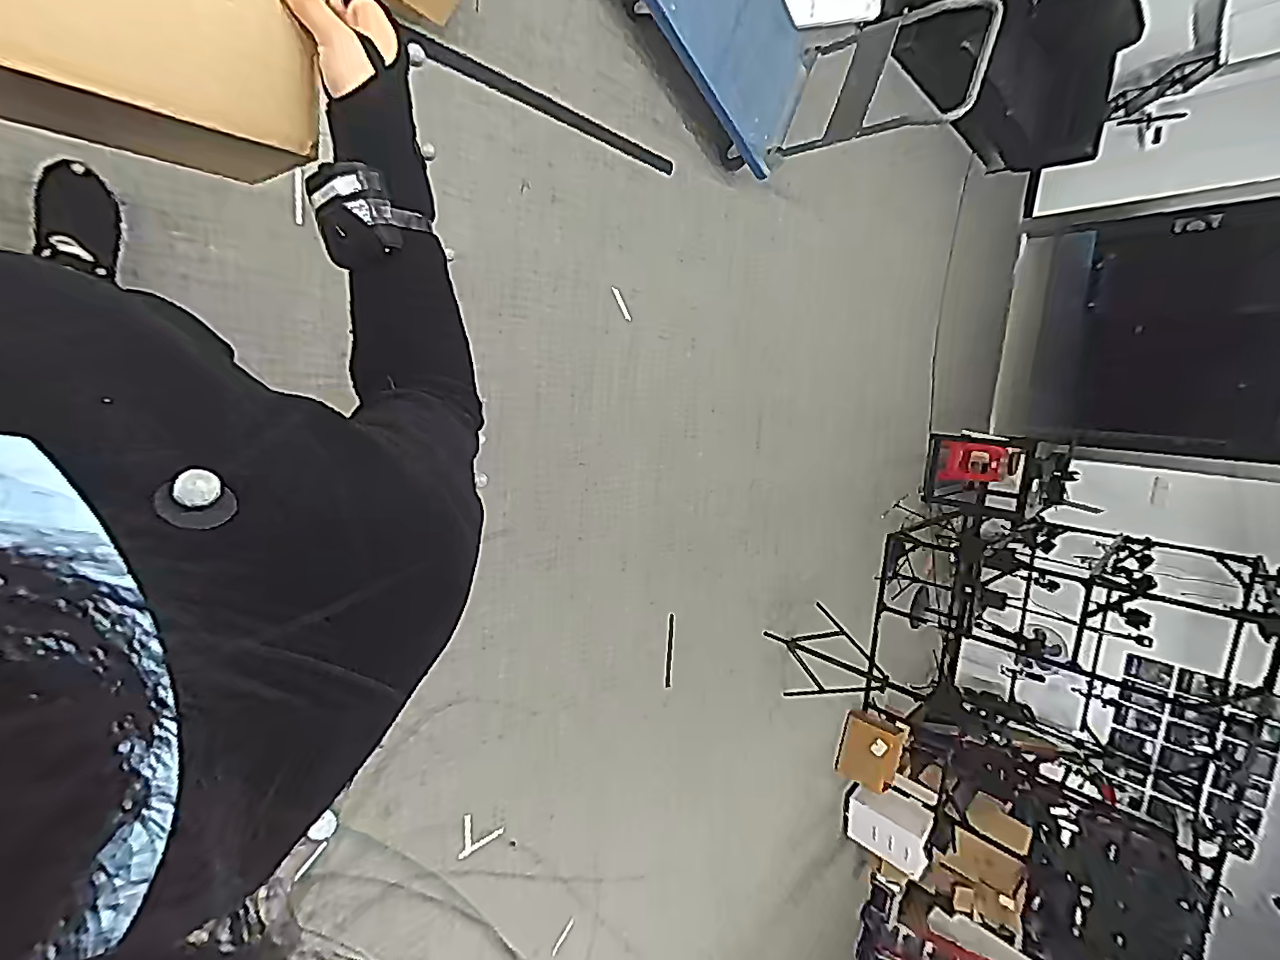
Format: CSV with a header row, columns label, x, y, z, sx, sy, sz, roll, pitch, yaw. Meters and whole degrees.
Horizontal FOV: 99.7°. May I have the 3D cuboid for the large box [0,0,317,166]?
label,x,y,z,sx,sy,sz,roll,pitch,yaw
large box,-0.481,-0.448,0.367,0.408,0.320,0.320,-5,111,-42
